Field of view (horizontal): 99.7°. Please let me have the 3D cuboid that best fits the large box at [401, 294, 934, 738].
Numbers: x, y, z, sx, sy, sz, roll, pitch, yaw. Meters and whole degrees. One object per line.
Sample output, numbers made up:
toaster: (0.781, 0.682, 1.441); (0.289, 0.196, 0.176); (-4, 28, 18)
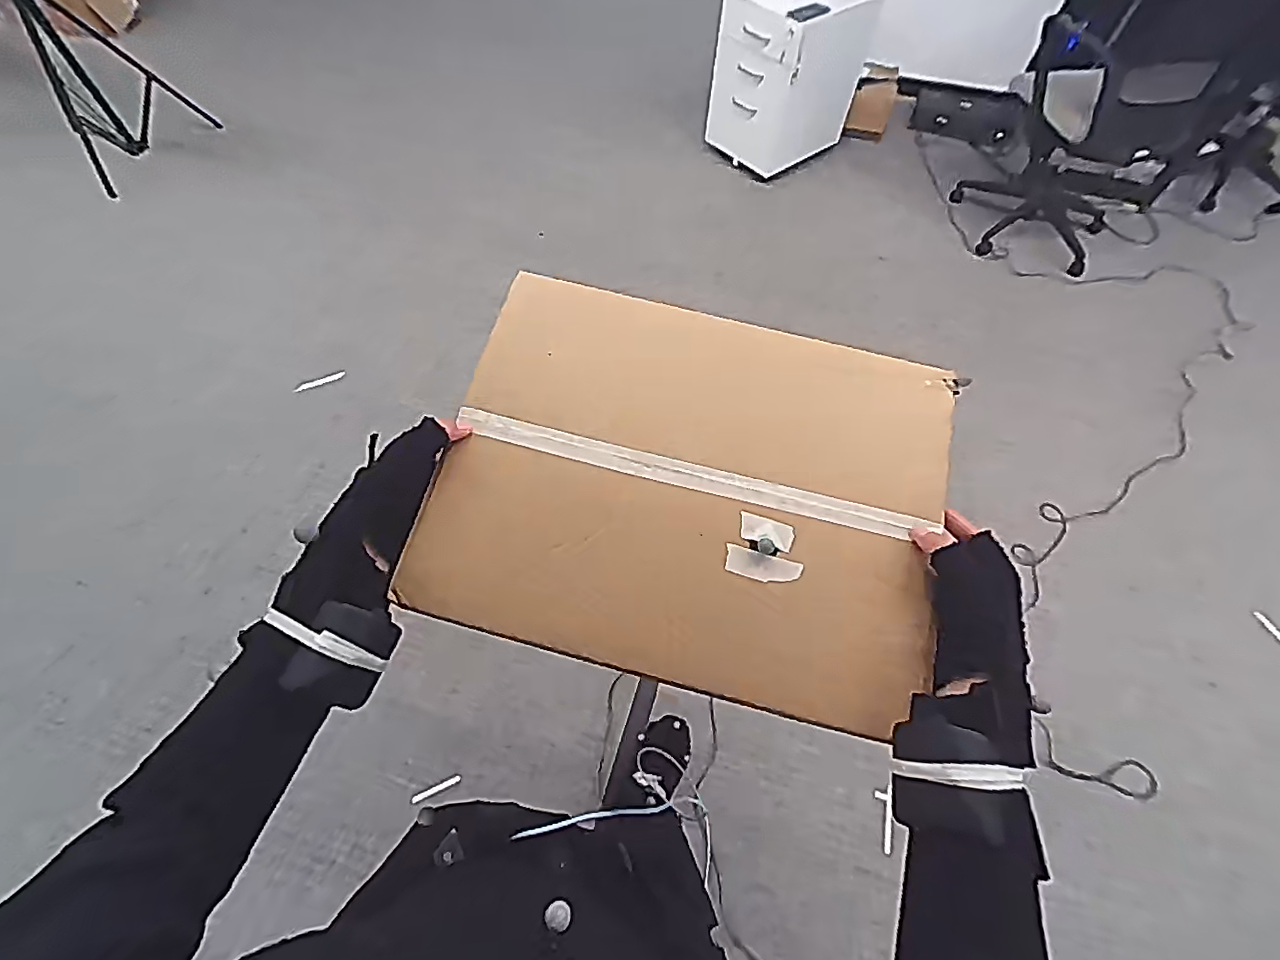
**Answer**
large box: (0.034, 0.054, 0.594); (0.408, 0.320, 0.320); (14, 72, 3)
